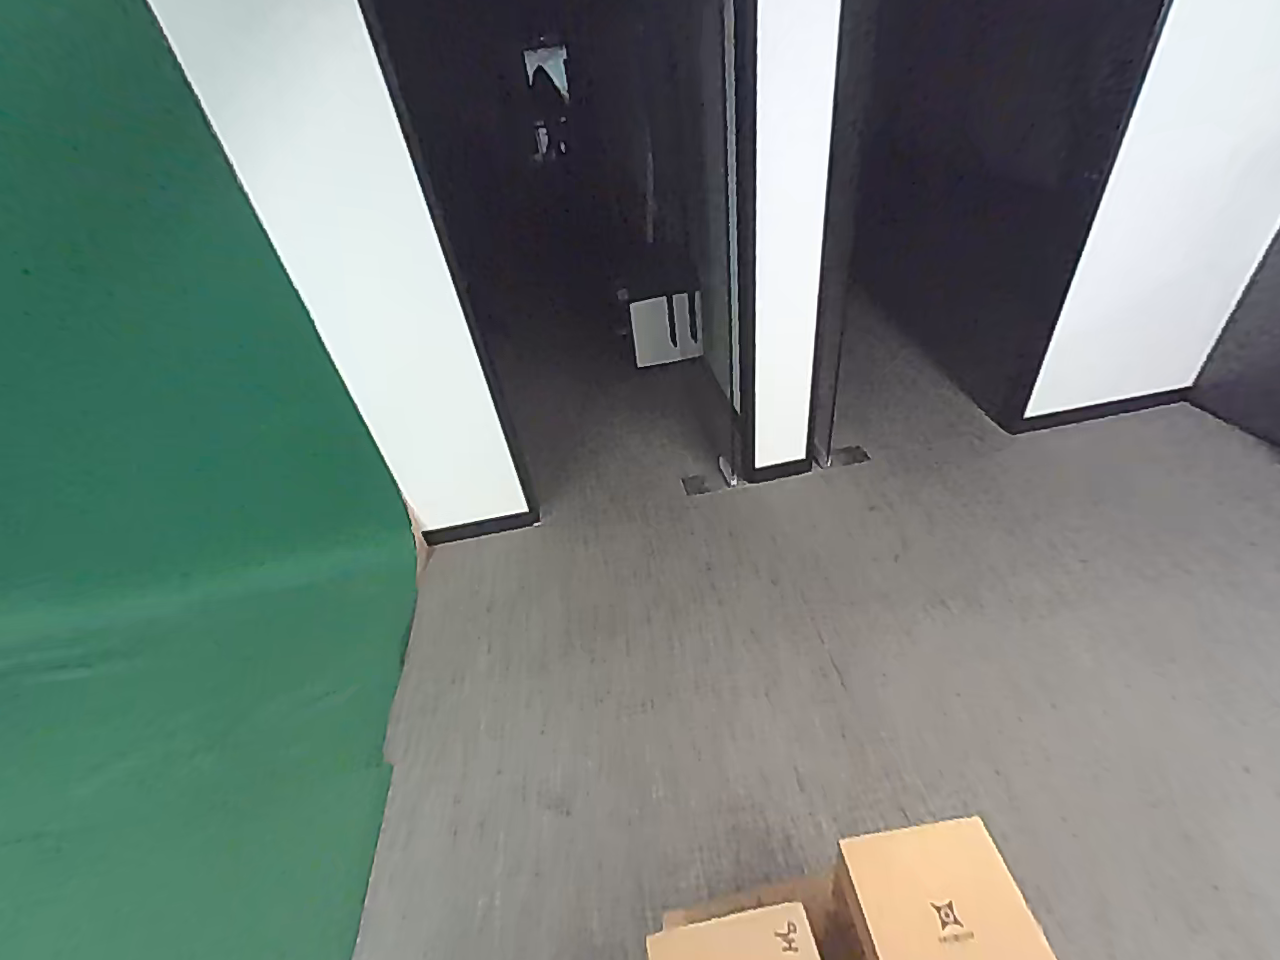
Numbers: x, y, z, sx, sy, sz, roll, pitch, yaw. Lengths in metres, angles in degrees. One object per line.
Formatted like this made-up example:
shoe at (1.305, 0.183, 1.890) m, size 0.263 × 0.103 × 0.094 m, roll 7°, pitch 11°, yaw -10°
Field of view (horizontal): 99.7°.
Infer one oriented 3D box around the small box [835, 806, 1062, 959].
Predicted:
small box at (0.333, 0.508, 0.612) m, size 0.168 × 0.176 × 0.179 m, roll -10°, pitch 38°, yaw 1°
